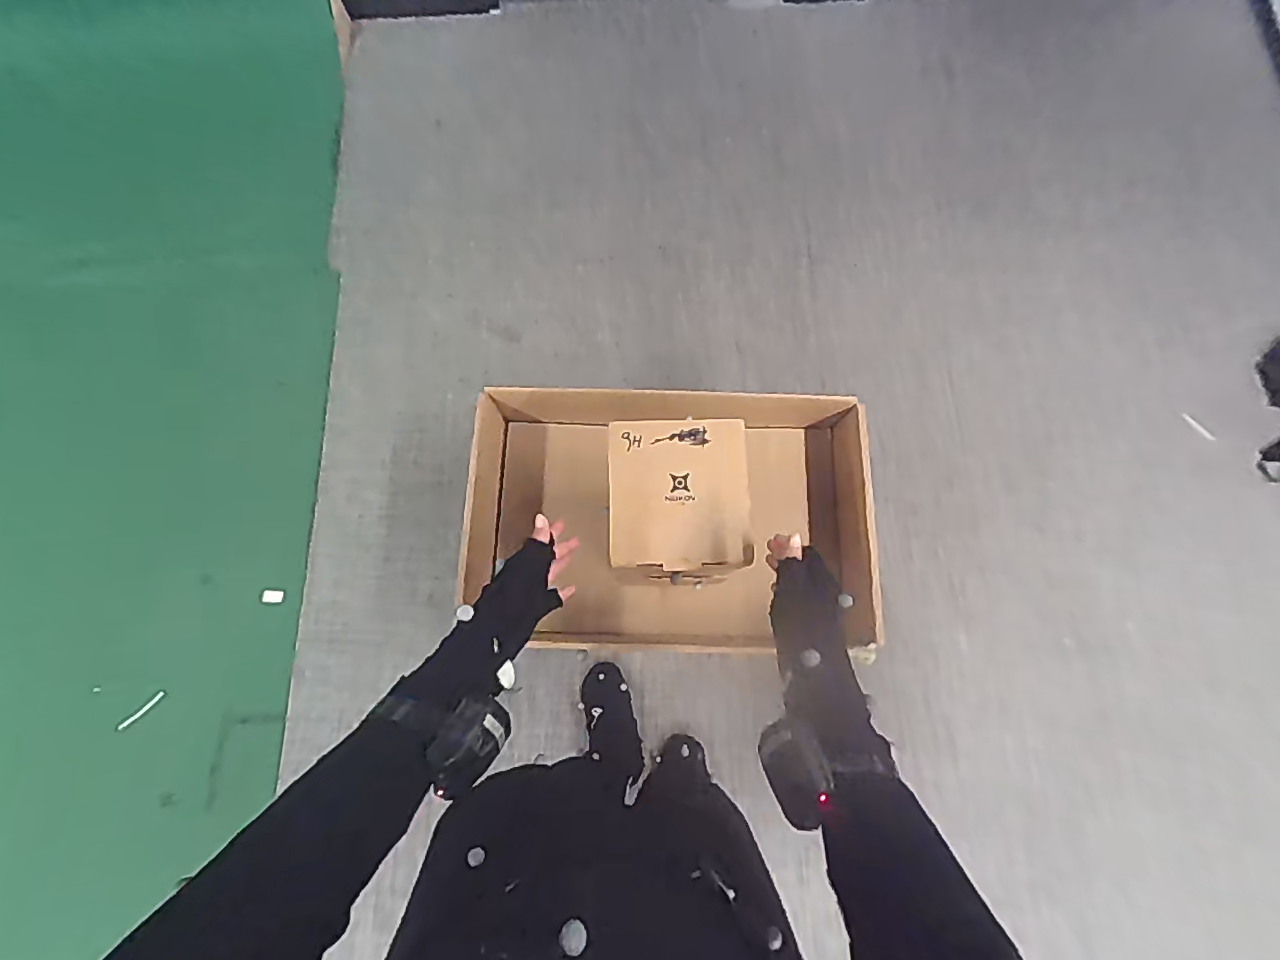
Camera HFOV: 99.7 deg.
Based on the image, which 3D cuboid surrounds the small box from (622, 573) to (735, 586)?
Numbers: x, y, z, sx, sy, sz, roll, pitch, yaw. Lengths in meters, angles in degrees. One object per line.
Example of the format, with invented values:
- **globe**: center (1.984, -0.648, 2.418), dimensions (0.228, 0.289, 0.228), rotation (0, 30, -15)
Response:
- **small box**: center (0.055, 0.079, 0.868), dimensions (0.168, 0.176, 0.179), rotation (-1, 74, -1)

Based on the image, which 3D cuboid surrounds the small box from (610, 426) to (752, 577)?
- **small box**: center (0.048, 0.037, 0.710), dimensions (0.168, 0.176, 0.179), rotation (-1, 77, -1)
